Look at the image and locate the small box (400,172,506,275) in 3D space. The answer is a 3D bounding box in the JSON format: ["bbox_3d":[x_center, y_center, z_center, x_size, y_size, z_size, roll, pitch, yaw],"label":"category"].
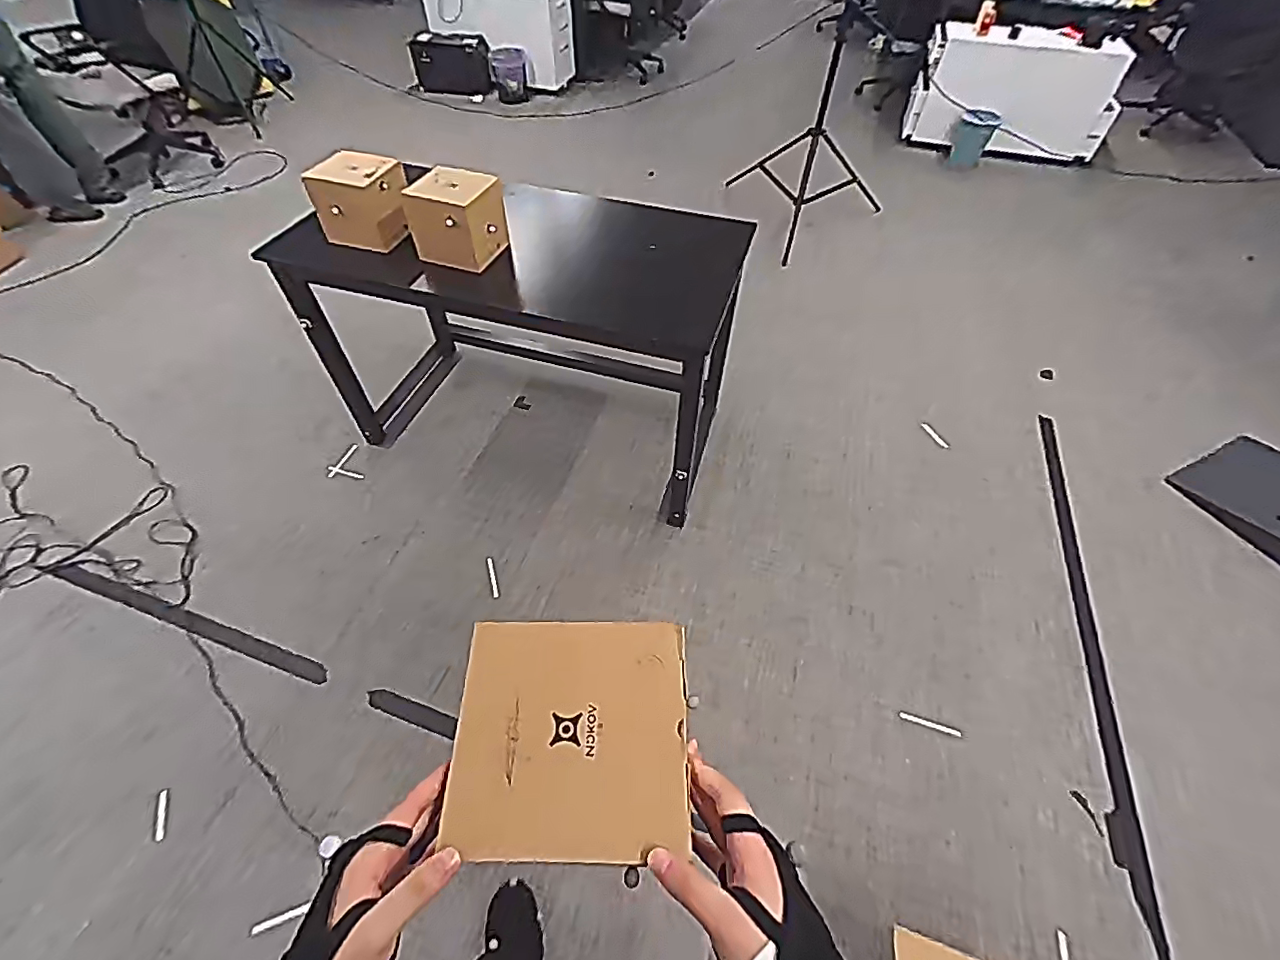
[{"bbox_3d":[-0.454,-0.637,1.350,0.179,0.176,0.168,15,52,11],"label":"small box"}]

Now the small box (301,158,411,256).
[{"bbox_3d":[-0.715,-0.703,1.398,0.179,0.176,0.168,13,52,9],"label":"small box"}]
